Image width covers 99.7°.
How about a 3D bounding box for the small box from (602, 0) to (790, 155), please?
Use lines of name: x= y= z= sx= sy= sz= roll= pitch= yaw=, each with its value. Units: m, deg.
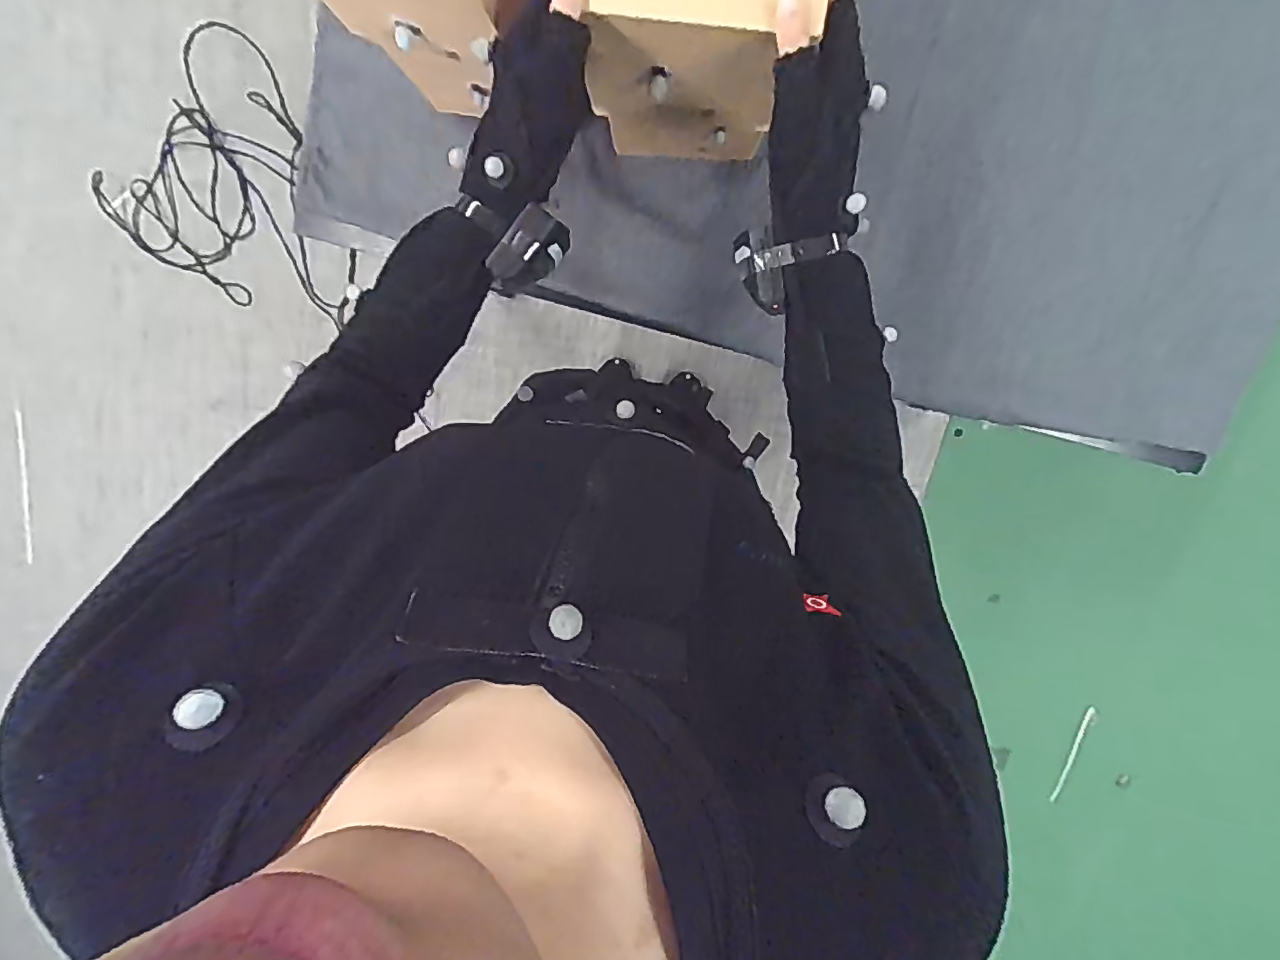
small box: x=0.055 y=-0.456 z=0.551 sx=0.168 sy=0.176 sz=0.179 roll=4 pitch=102 yaw=0
